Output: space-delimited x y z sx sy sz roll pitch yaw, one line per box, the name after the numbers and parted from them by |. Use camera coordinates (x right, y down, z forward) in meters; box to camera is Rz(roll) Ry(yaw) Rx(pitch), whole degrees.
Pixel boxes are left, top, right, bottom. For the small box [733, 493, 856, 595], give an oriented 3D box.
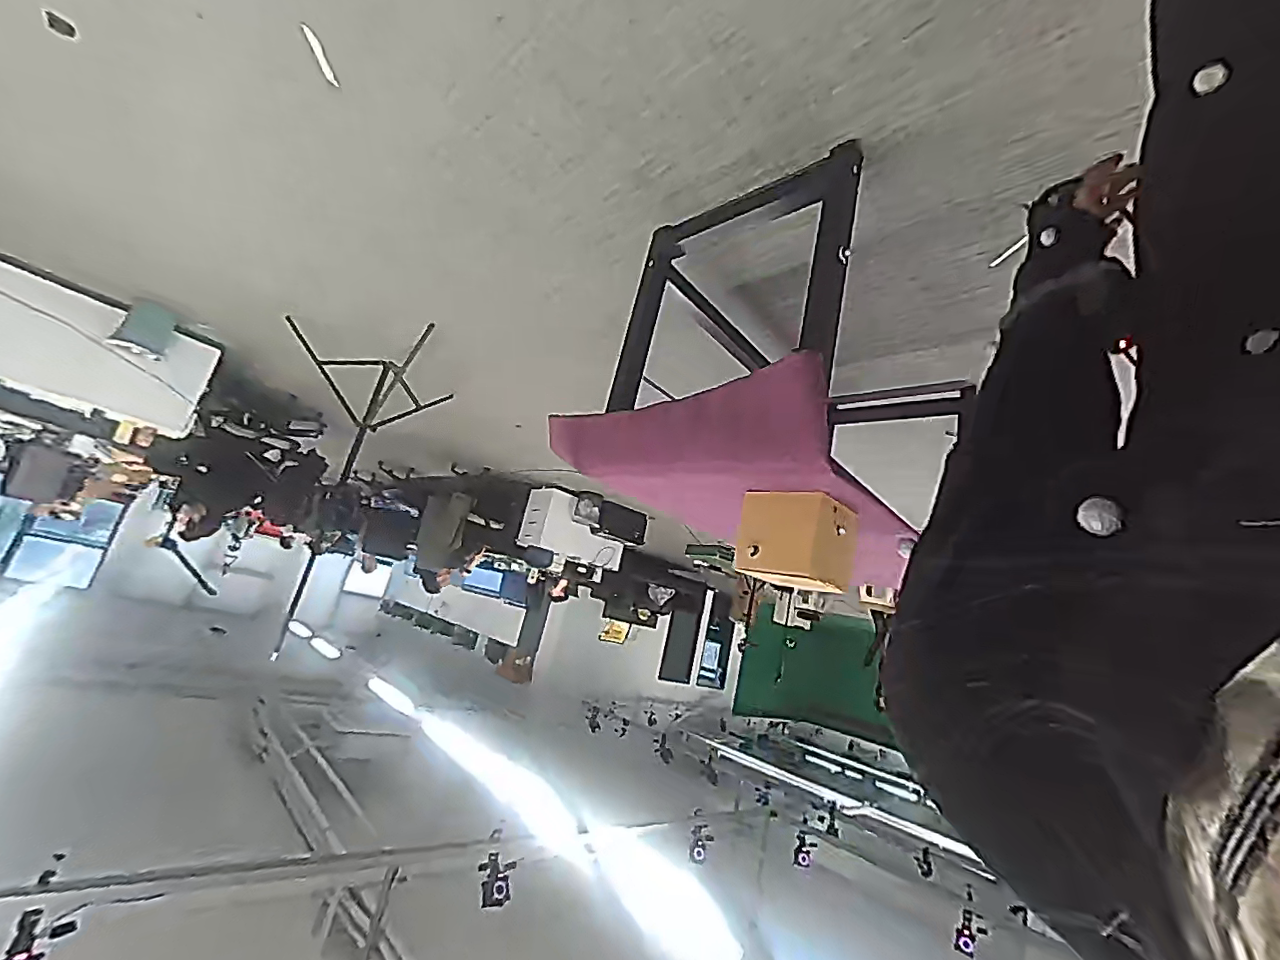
0.318 0.126 1.102 0.179 0.176 0.168 -2 161 45 | small box
